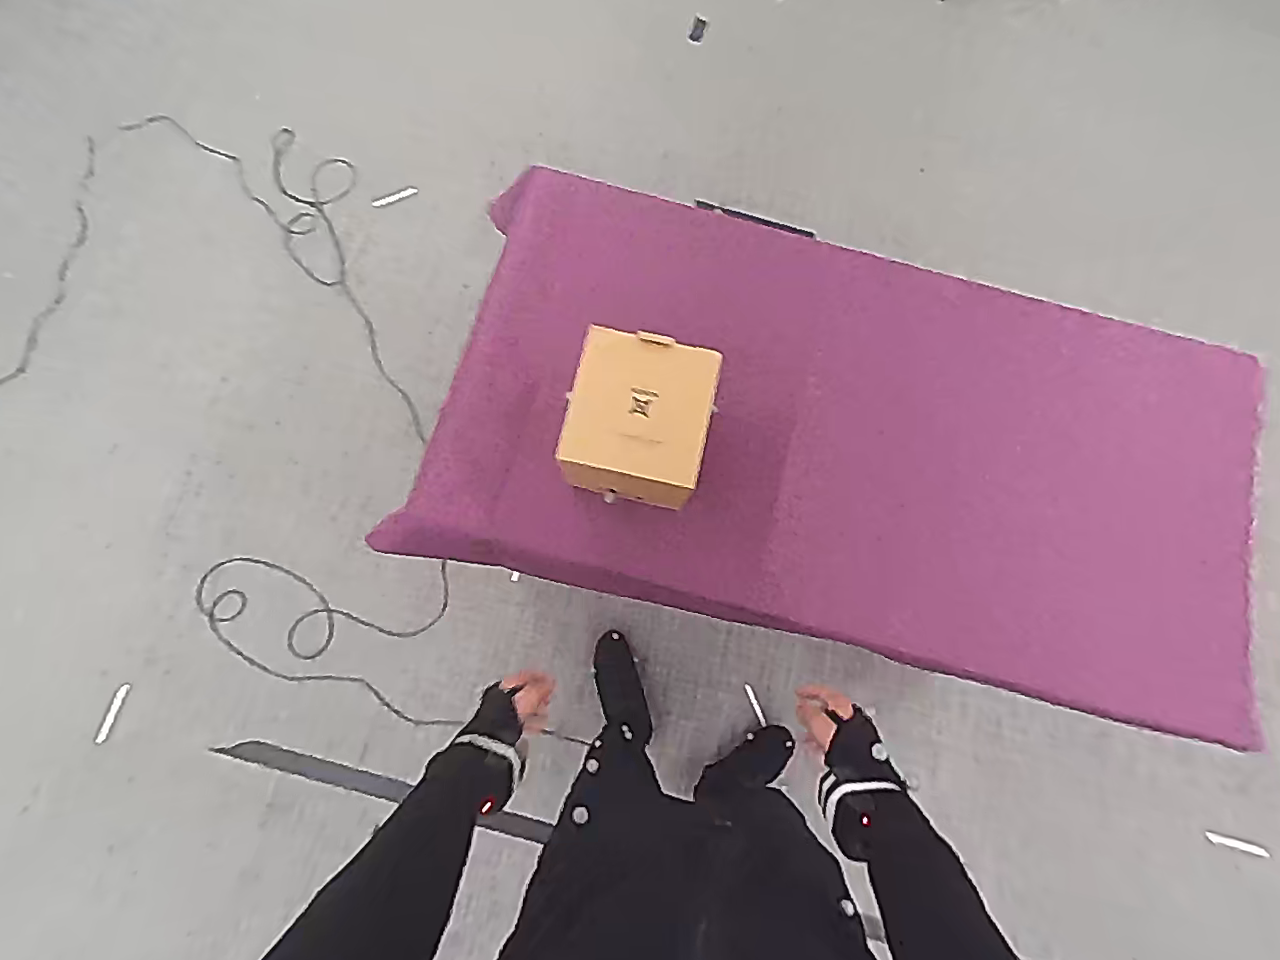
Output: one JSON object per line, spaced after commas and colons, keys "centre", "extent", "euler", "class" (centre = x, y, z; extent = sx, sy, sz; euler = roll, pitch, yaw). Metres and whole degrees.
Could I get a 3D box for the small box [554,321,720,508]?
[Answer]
{"centre": [-0.005, -0.075, 0.712], "extent": [0.168, 0.176, 0.179], "euler": [14, 78, 1], "class": "small box"}
